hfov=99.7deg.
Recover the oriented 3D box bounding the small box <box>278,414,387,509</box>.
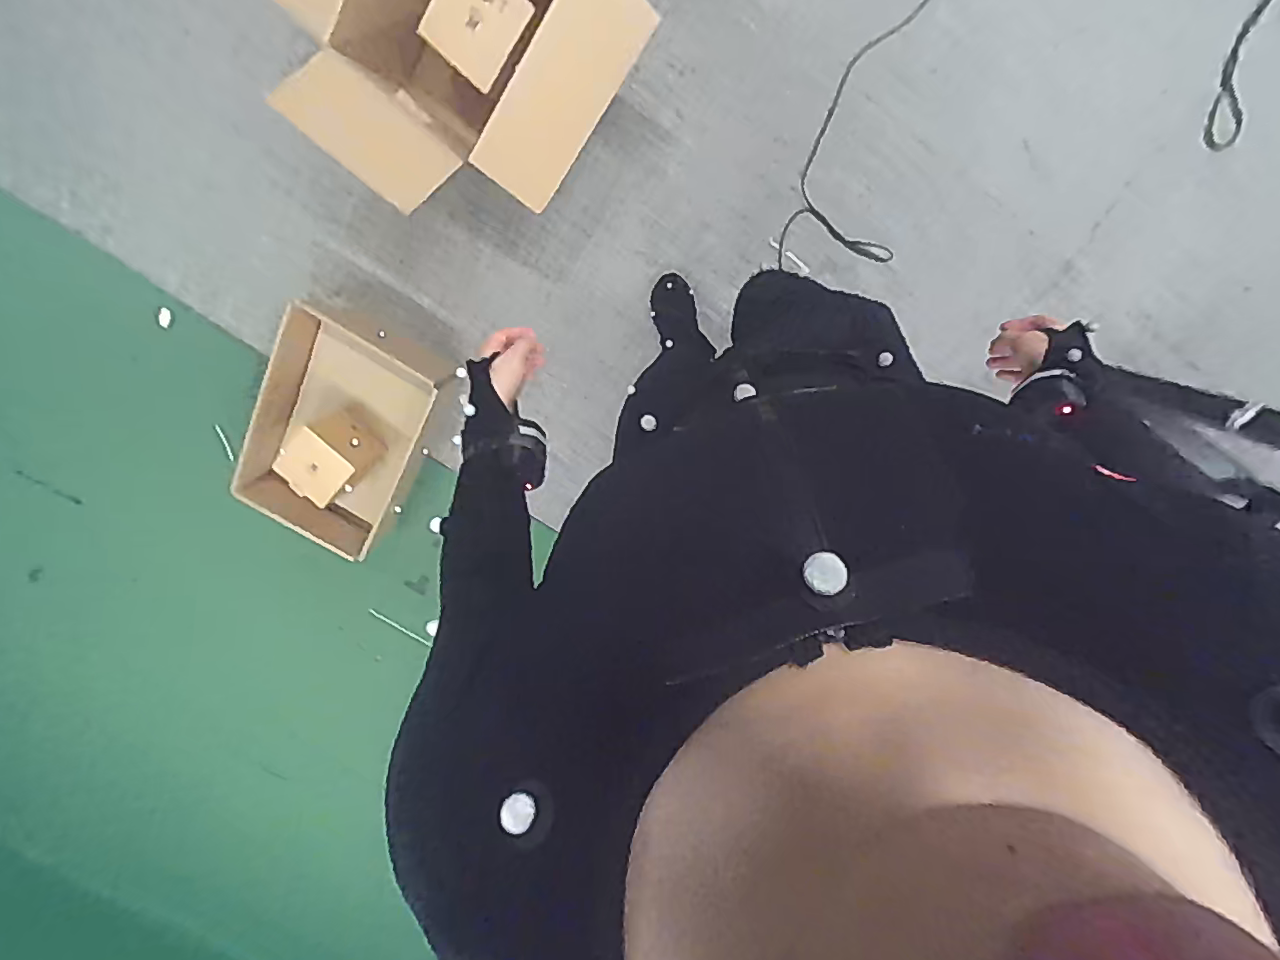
[{"bbox_3d":[-0.835,-0.059,1.493,0.168,0.176,0.179,43,109,-11],"label":"small box"}]
